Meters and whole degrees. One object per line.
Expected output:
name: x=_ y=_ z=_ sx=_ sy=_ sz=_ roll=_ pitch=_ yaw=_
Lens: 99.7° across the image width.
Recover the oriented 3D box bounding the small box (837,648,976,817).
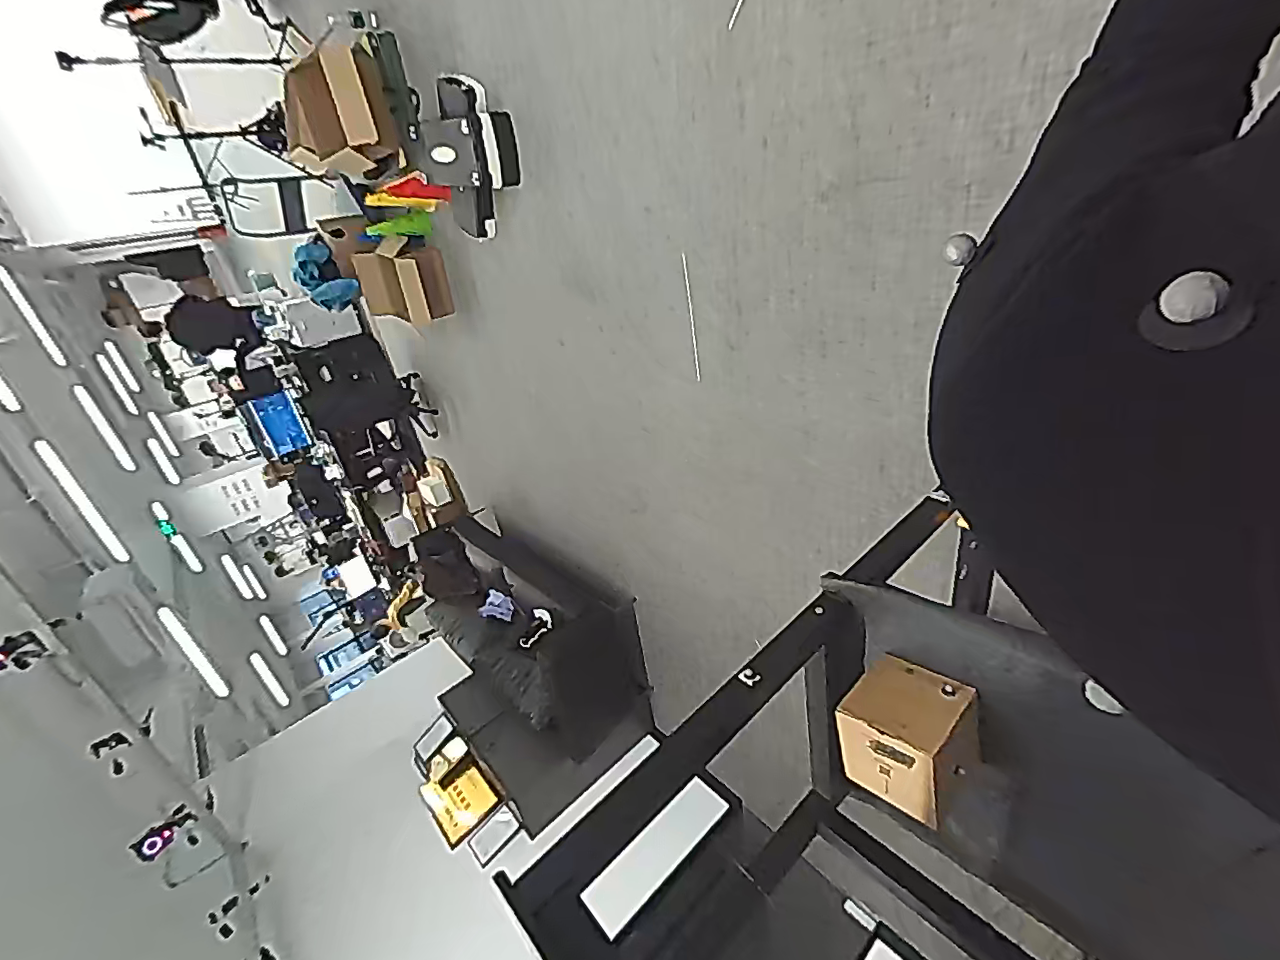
small box: x=0.475 y=0.433 z=0.960 sx=0.168 sy=0.176 sz=0.179 roll=14 pitch=126 yaw=50
